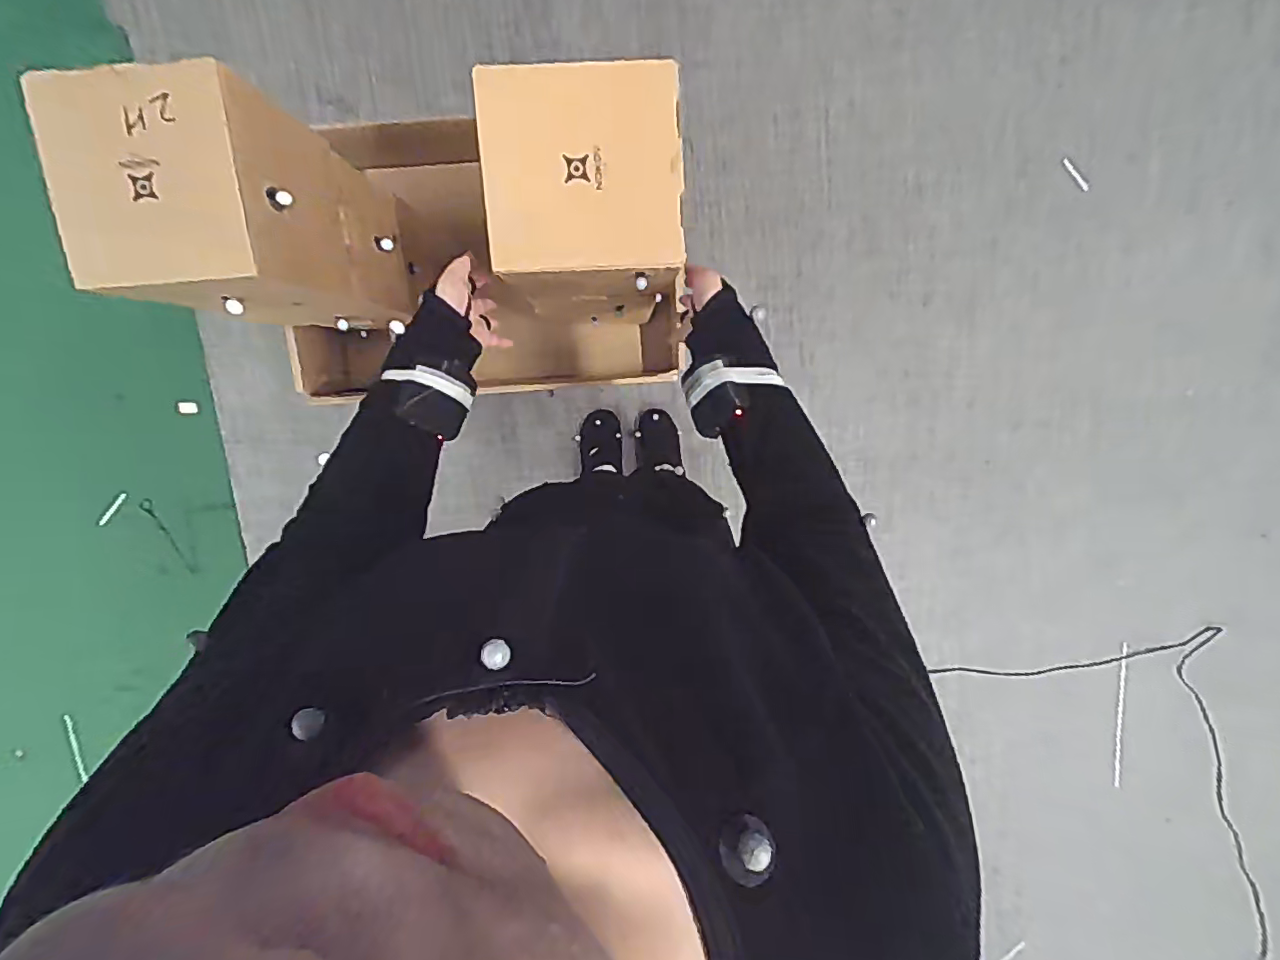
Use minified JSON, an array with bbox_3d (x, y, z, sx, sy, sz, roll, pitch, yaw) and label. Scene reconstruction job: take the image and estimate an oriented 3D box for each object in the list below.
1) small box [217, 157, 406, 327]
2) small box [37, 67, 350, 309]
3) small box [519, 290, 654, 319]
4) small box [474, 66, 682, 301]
[{"bbox_3d":[-0.427,-0.299,0.712,0.179,0.176,0.168,-5,100,0],"label":"small box"},{"bbox_3d":[-0.422,-0.273,0.548,0.168,0.176,0.179,-3,100,0],"label":"small box"},{"bbox_3d":[-0.060,-0.311,0.711,0.168,0.176,0.179,2,99,-2],"label":"small box"},{"bbox_3d":[-0.054,-0.281,0.551,0.179,0.176,0.168,-3,100,-2],"label":"small box"}]
